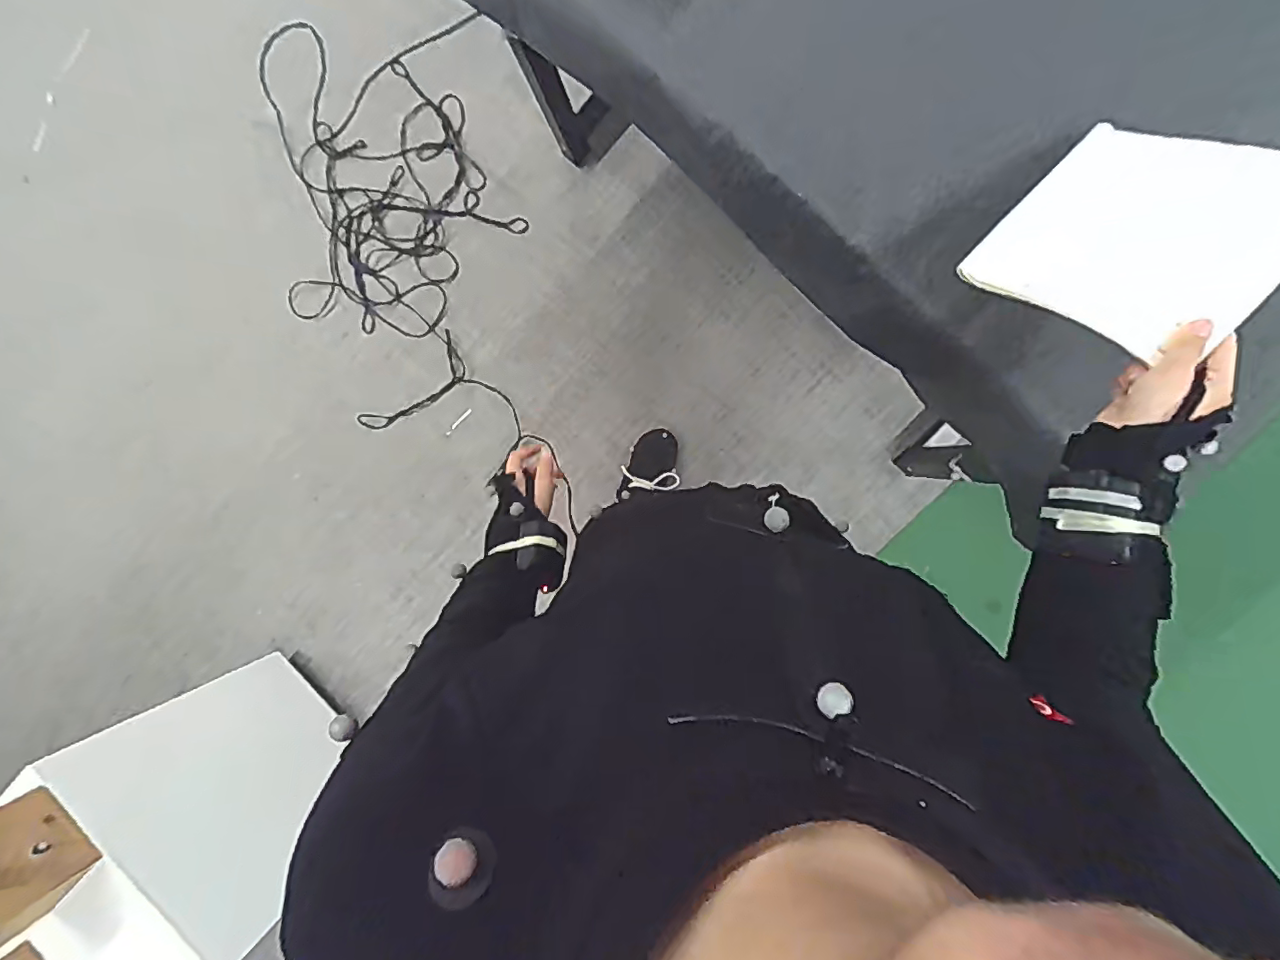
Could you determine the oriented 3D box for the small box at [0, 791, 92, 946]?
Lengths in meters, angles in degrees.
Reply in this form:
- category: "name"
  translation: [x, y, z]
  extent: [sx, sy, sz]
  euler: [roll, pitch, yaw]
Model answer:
- category: "small box"
  translation: [-1.042, 0.646, 0.851]
  extent: [0.179, 0.176, 0.168]
  euler: [-45, 87, 7]
